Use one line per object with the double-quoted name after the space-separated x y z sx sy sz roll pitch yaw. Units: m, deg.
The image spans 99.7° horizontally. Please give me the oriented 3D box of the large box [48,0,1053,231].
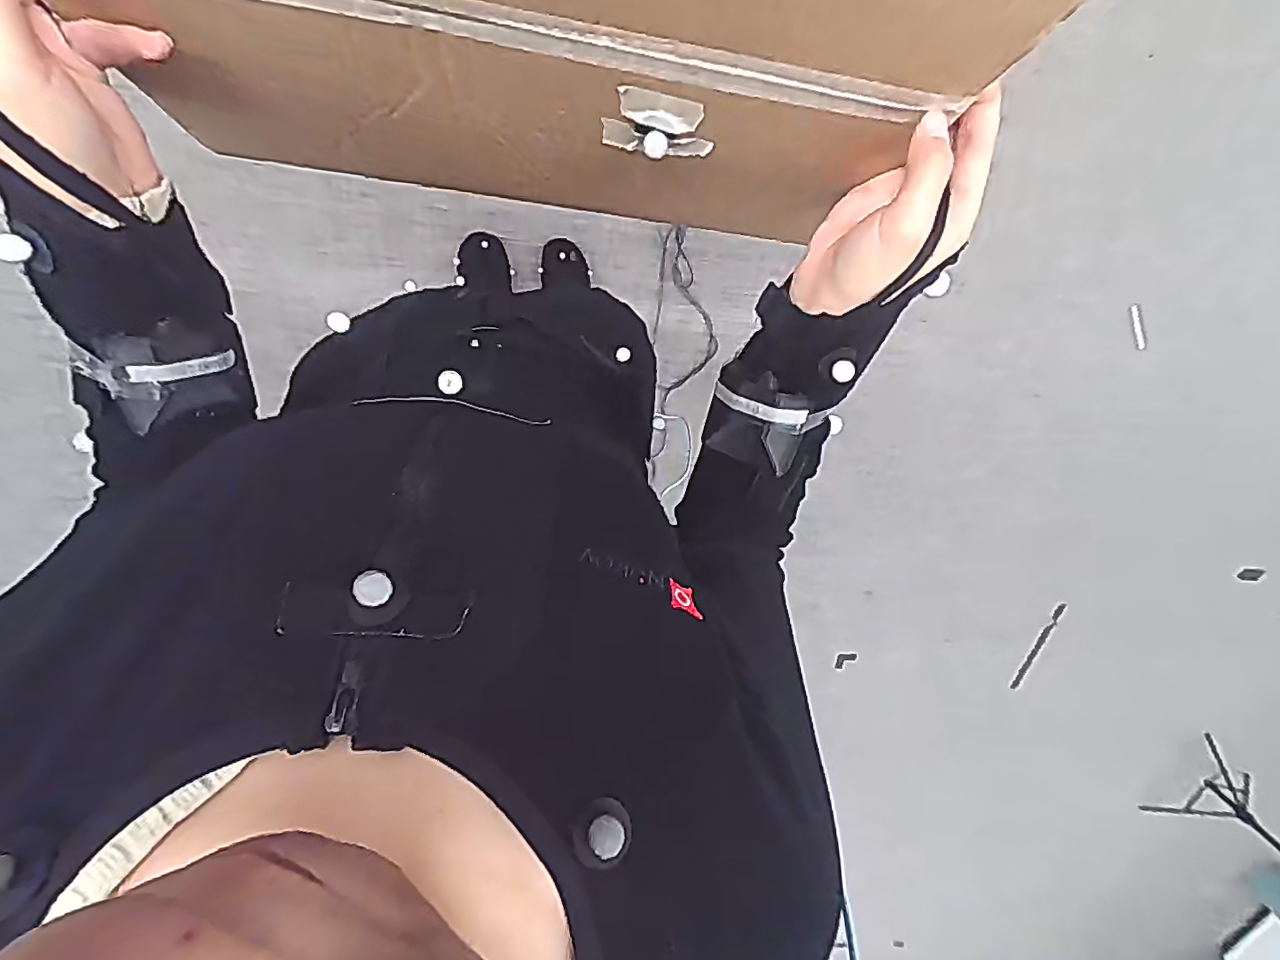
-0.043 -0.344 0.224 0.408 0.320 0.320 4 92 -8 "large box"
